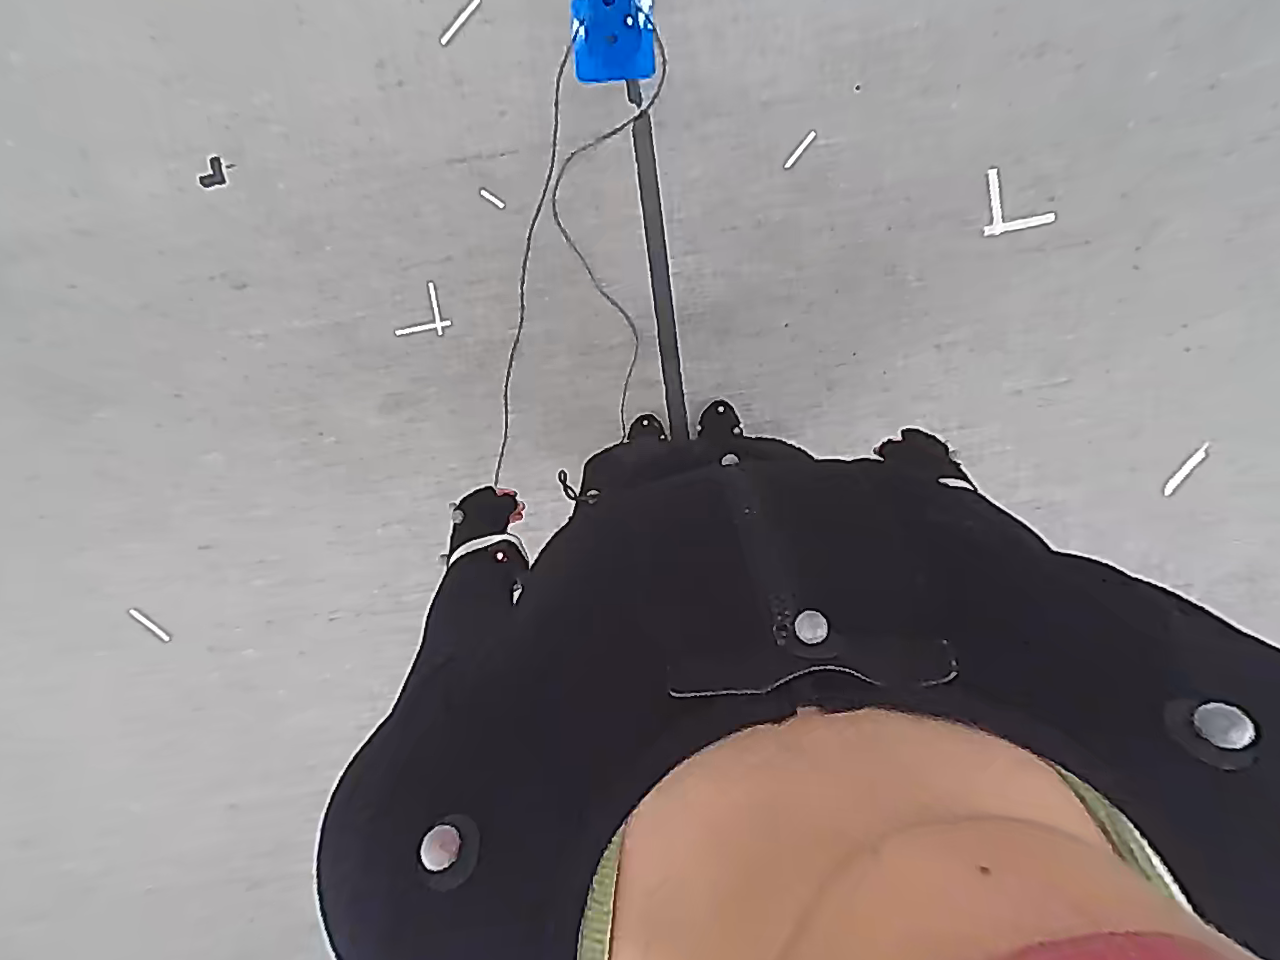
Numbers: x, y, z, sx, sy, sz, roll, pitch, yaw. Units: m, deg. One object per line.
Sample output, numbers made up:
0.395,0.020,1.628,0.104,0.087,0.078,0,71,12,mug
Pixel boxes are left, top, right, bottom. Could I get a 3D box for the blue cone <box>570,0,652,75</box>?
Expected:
-0.075,-1.066,1.148,0.193,0.380,0.192,-5,98,3,blue cone
